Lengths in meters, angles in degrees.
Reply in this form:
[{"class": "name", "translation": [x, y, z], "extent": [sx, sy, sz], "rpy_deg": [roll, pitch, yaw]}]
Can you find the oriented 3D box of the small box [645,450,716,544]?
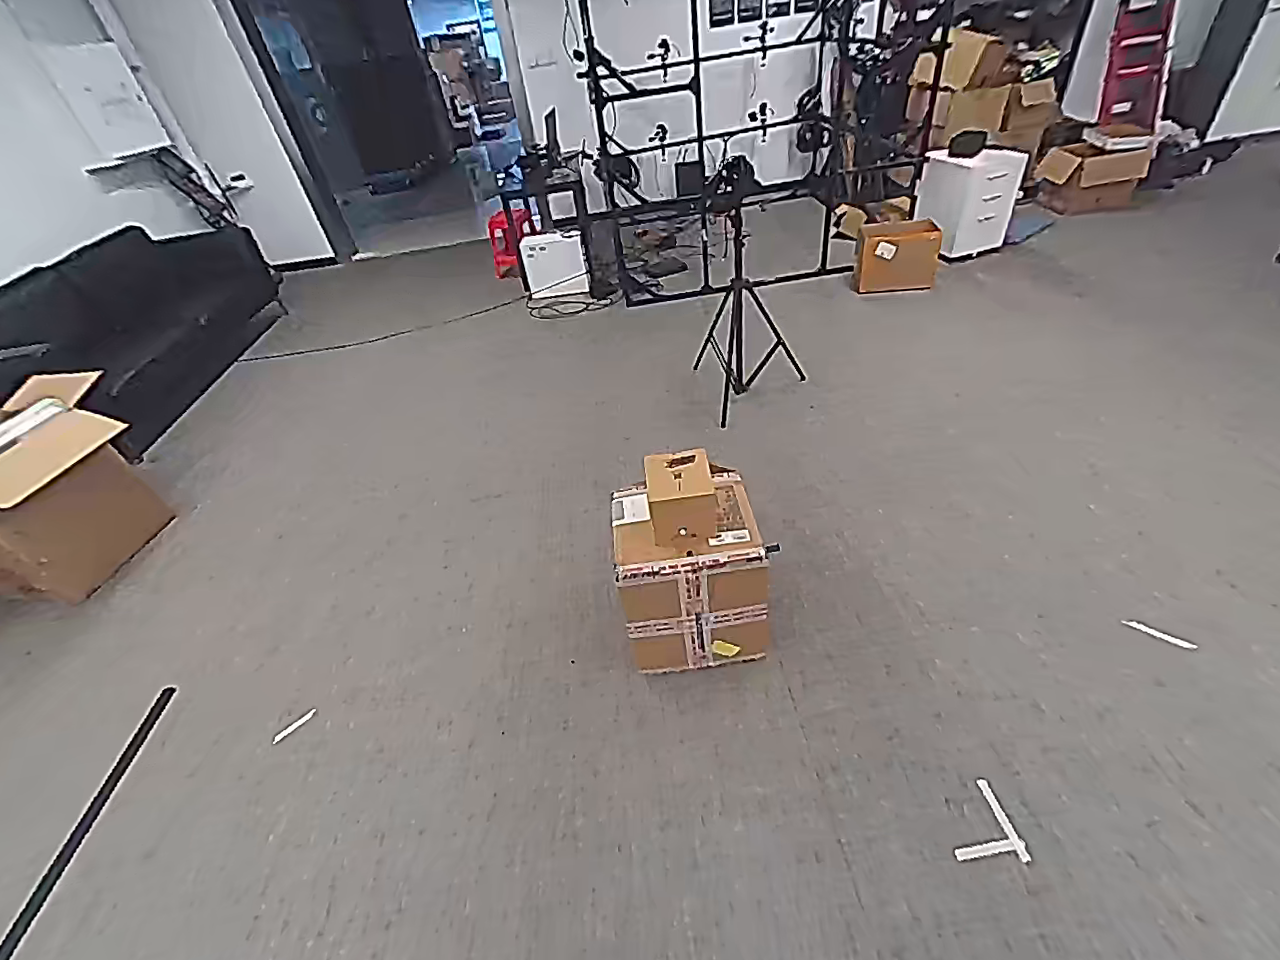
[{"class": "small box", "translation": [0.106, 0.046, 1.431], "extent": [0.168, 0.176, 0.179], "rpy_deg": [-8, 43, 2]}]
